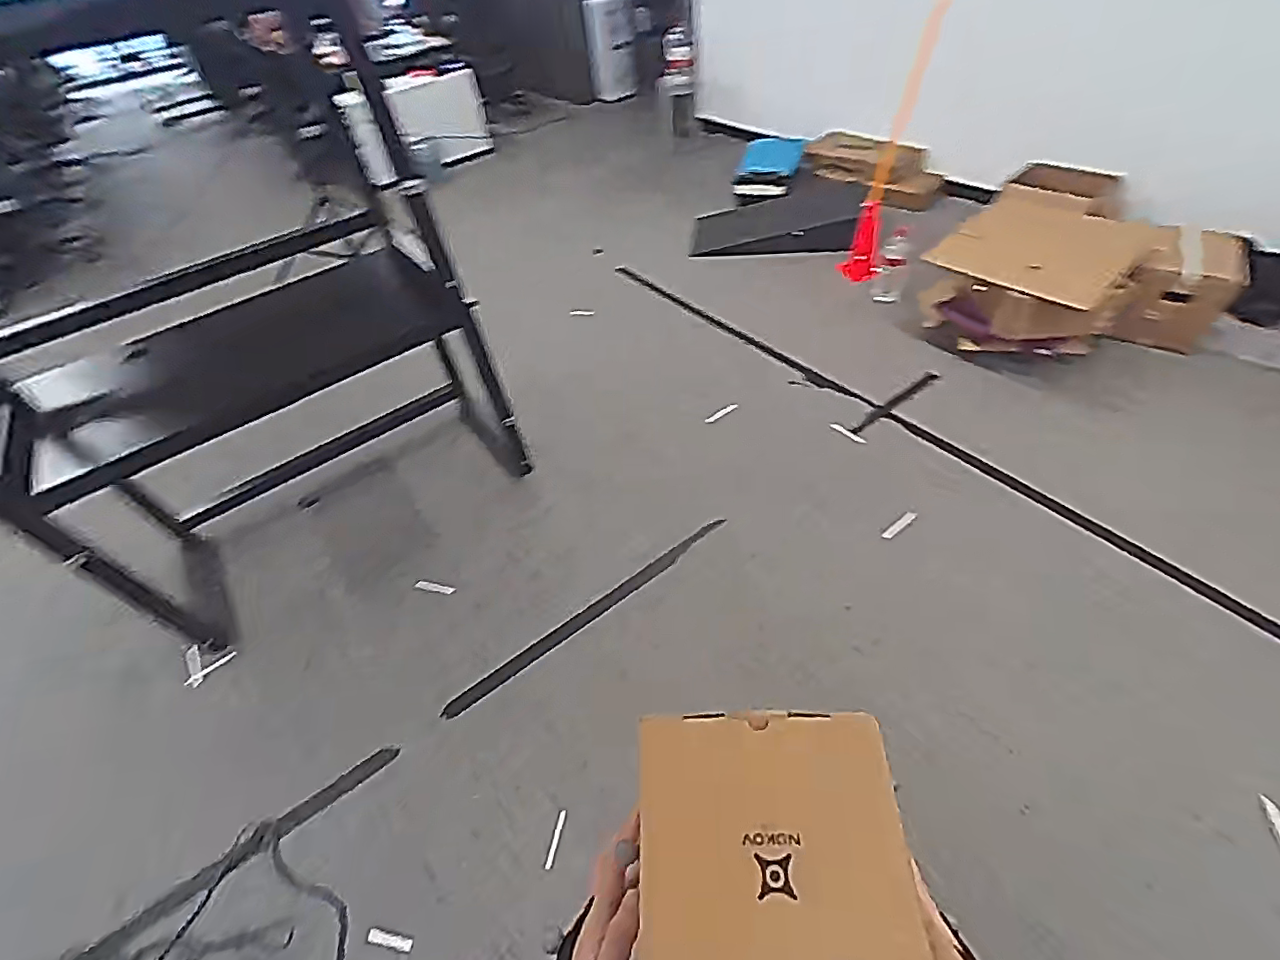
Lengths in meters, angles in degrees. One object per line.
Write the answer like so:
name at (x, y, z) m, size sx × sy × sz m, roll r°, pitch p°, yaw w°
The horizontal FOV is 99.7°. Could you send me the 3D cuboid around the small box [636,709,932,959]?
small box at (0.084, 0.279, 0.392) m, size 0.168 × 0.176 × 0.179 m, roll -2°, pitch 53°, yaw 1°
